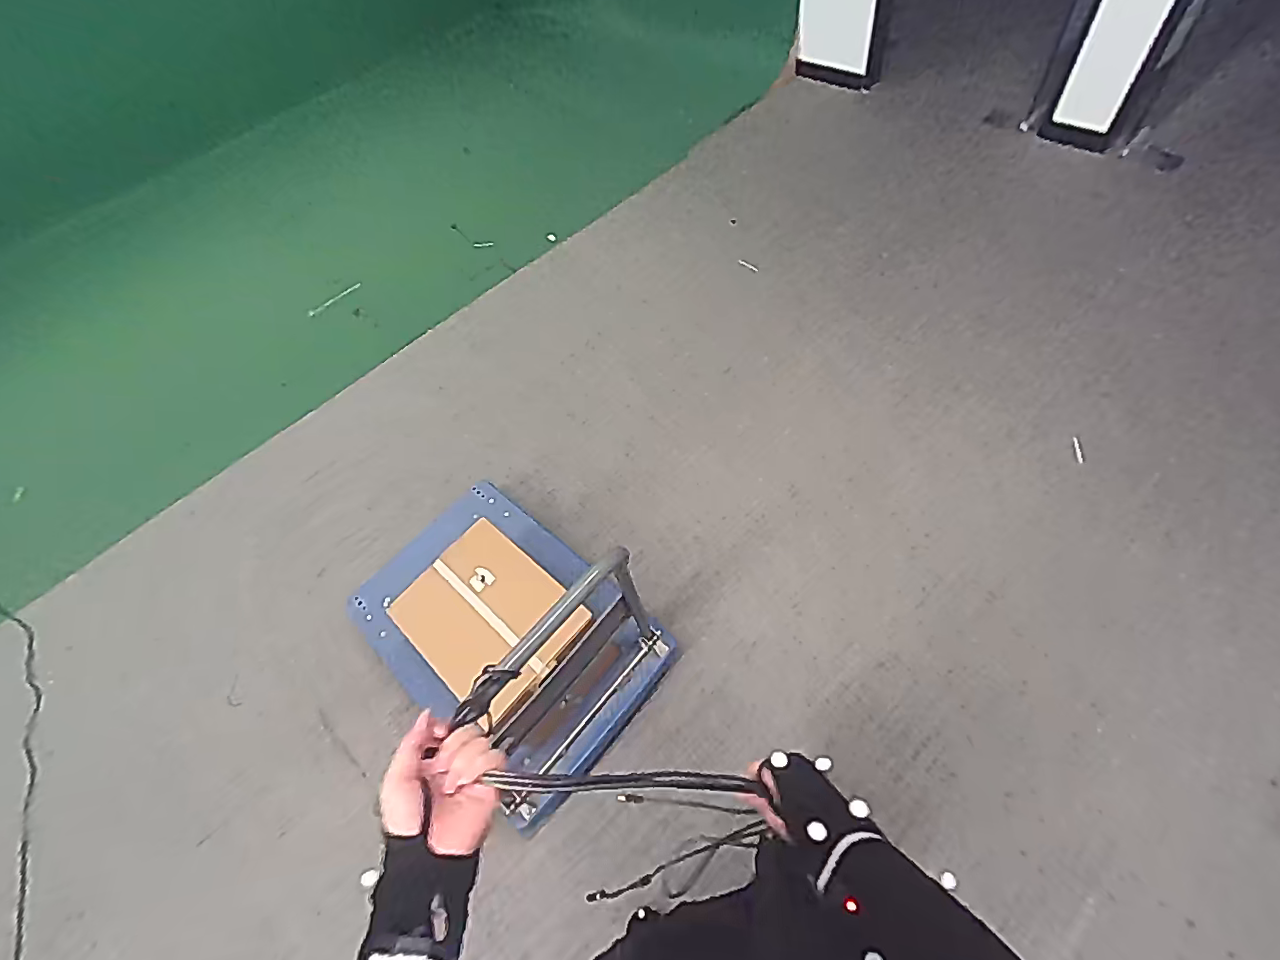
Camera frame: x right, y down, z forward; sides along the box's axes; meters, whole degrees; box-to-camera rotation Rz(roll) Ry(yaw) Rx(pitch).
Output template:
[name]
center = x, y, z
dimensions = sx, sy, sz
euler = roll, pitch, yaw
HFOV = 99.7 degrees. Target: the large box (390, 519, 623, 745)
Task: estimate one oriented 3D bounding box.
[large box]
center = -0.309, 0.372, 1.325
dimensions = 0.408, 0.320, 0.320
euler = 34, 70, 28
